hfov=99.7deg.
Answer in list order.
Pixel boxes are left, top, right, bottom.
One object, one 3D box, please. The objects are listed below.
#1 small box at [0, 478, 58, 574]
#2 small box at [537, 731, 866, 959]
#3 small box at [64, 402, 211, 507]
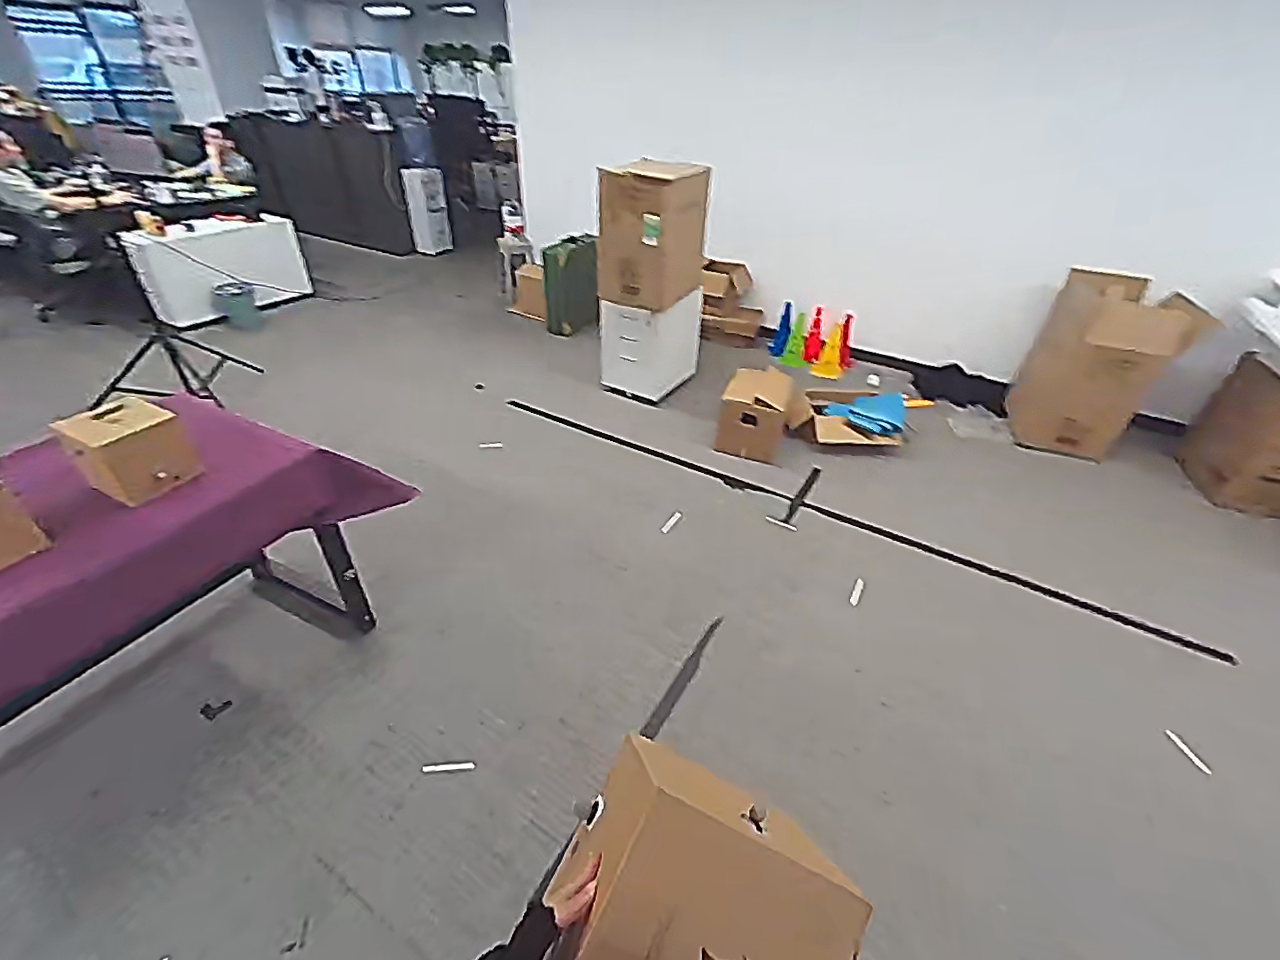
[{"bbox_3d":[-1.324,0.097,1.056,0.168,0.176,0.179,18,39,20],"label":"small box"},{"bbox_3d":[0.034,0.324,0.427,0.179,0.176,0.168,28,74,-1],"label":"small box"},{"bbox_3d":[-1.182,-0.060,1.284,0.179,0.176,0.168,18,39,20],"label":"small box"}]
